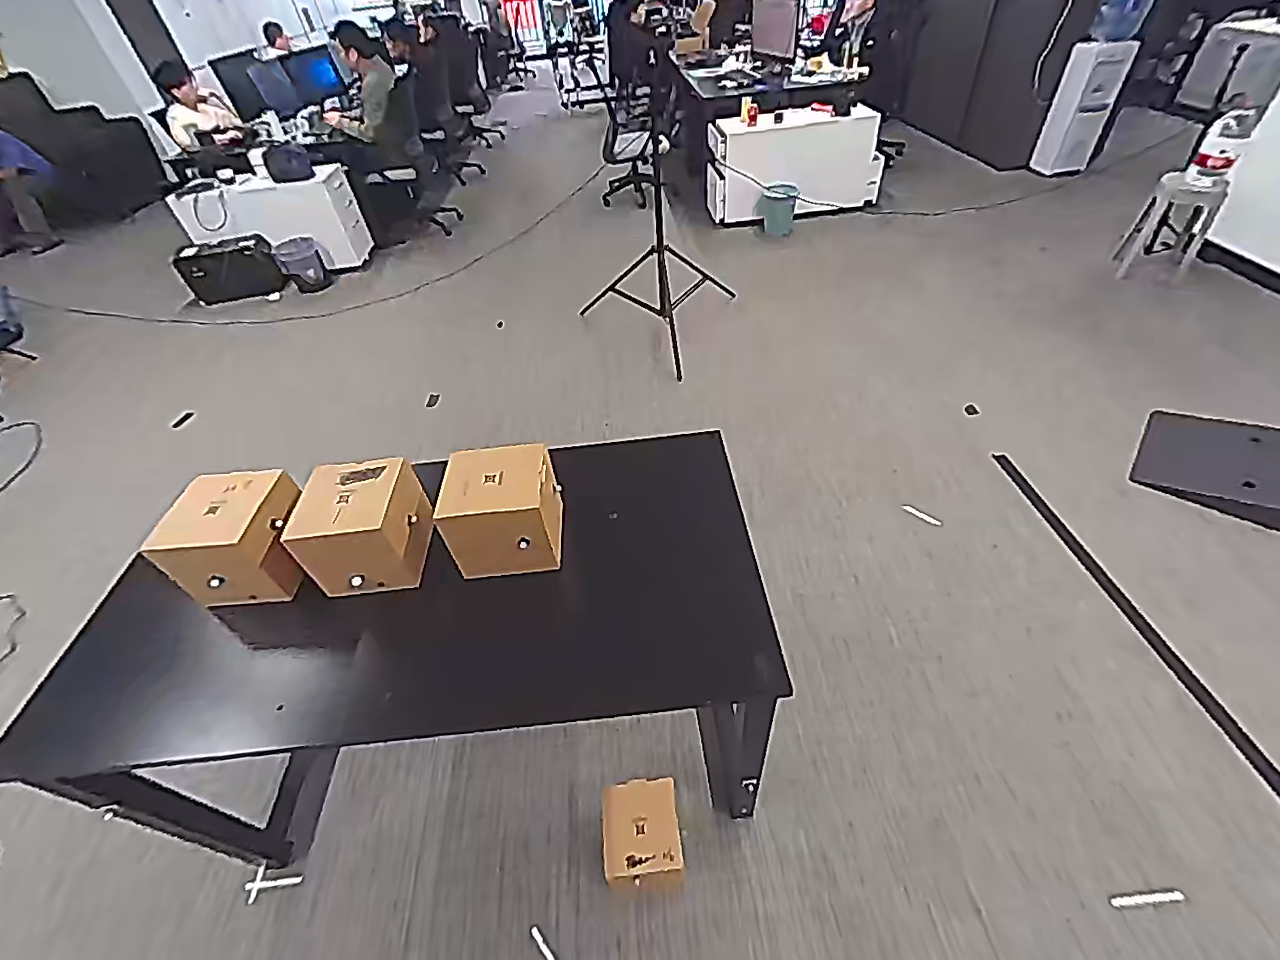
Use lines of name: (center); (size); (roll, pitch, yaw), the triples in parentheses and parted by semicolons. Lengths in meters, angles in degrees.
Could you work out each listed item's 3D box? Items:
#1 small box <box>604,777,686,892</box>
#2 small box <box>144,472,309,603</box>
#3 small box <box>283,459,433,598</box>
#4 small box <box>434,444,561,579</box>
small box: (0.011, 0.804, 1.227); (0.168, 0.176, 0.179); (-8, 44, 0)
small box: (-0.713, 0.110, 0.980); (0.168, 0.176, 0.179); (-4, 44, 2)
small box: (-0.490, 0.087, 0.975); (0.168, 0.176, 0.179); (-7, 46, -1)
small box: (-0.243, 0.059, 0.977); (0.179, 0.176, 0.168); (-7, 43, 1)
